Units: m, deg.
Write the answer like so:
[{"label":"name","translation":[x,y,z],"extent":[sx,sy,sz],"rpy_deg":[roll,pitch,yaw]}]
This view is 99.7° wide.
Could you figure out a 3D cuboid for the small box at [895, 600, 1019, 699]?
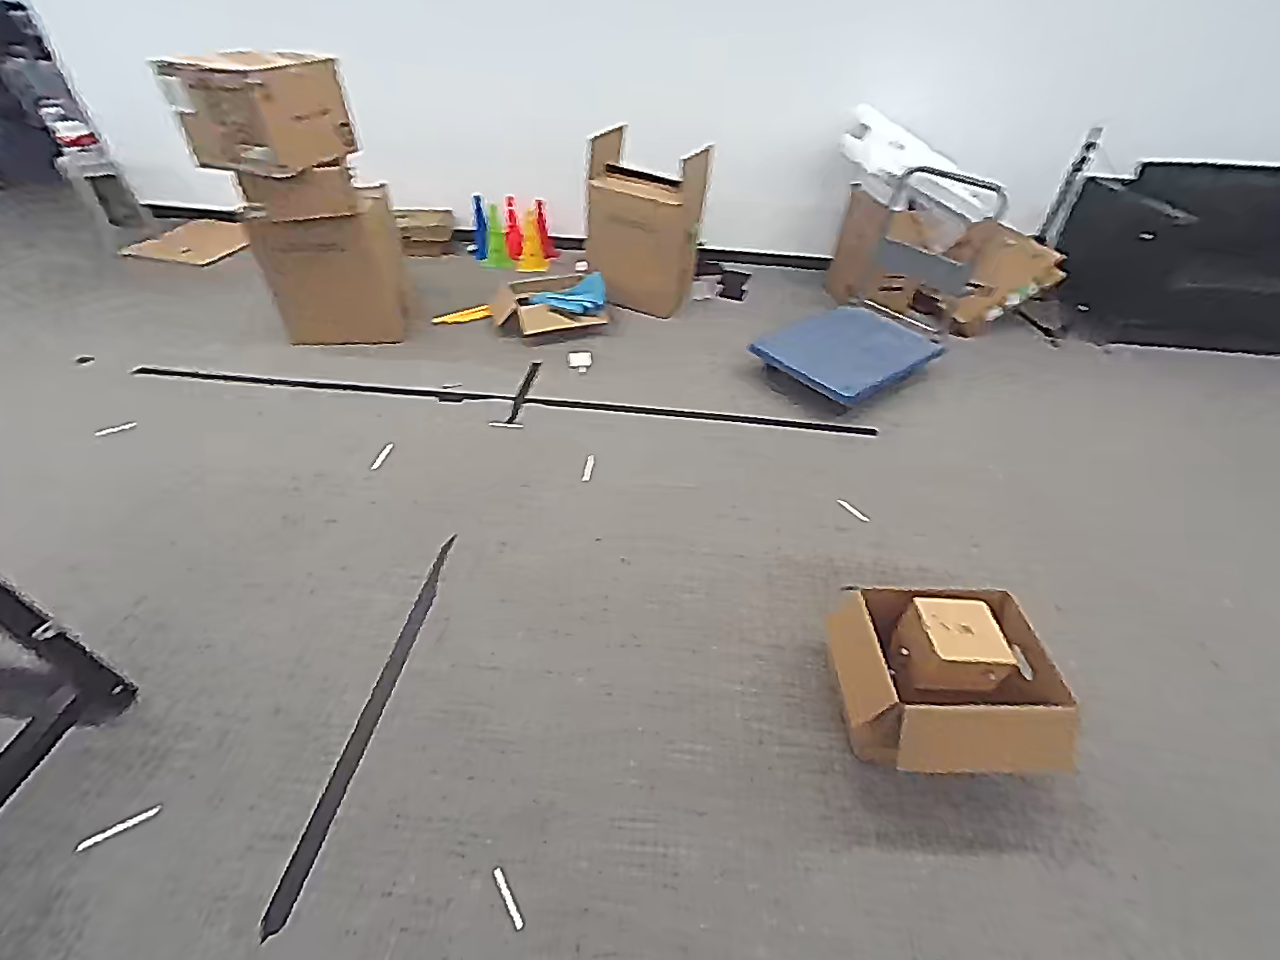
[{"label":"small box","translation":[0.749,0.409,1.298],"extent":[0.179,0.176,0.168],"rpy_deg":[3,41,0]}]
